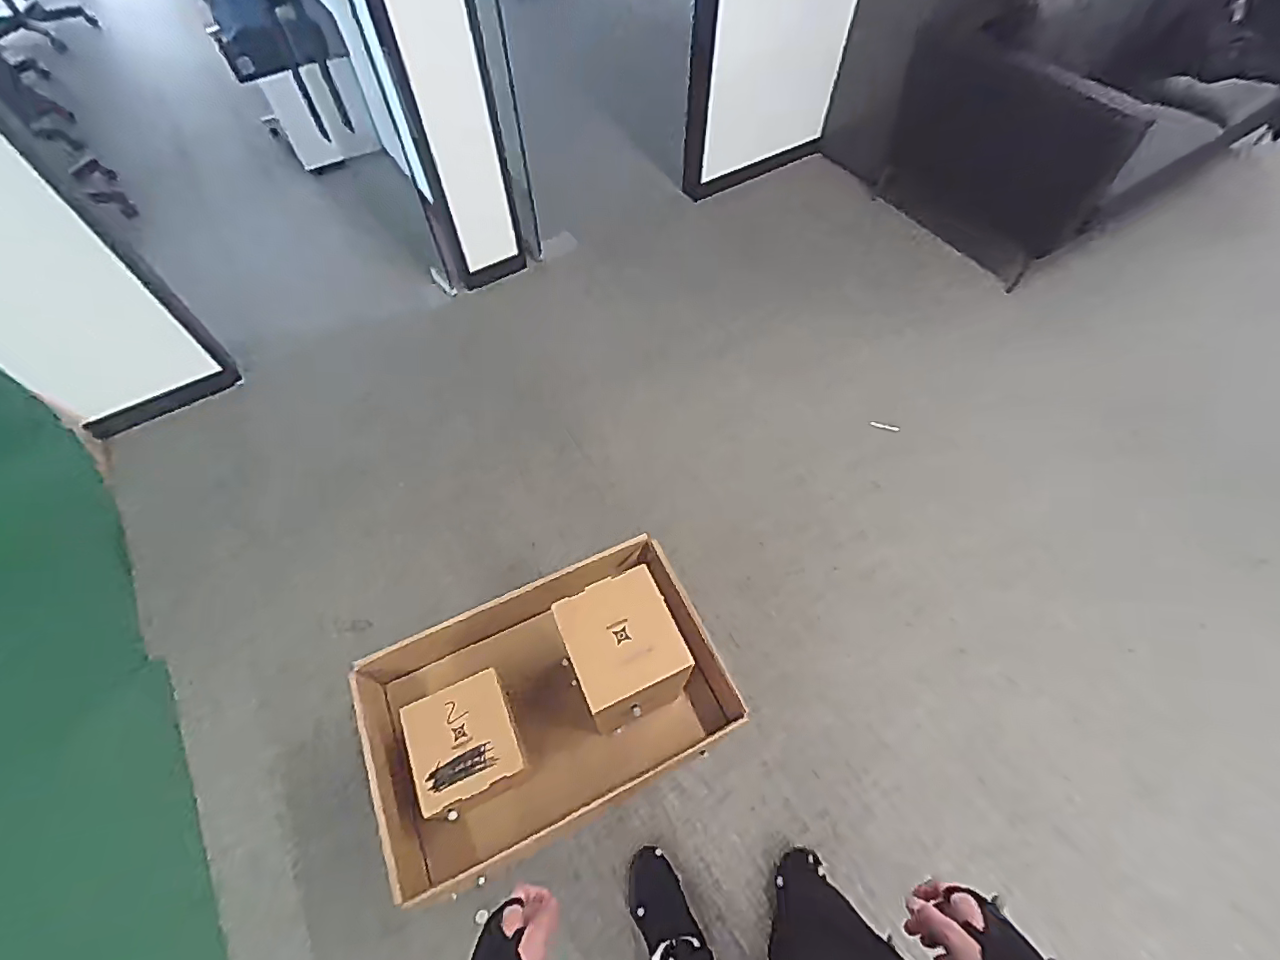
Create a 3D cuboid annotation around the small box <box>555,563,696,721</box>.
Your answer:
[{"bbox_3d":[-0.027,0.268,0.882,0.168,0.176,0.179,-21,62,-12],"label":"small box"}]
